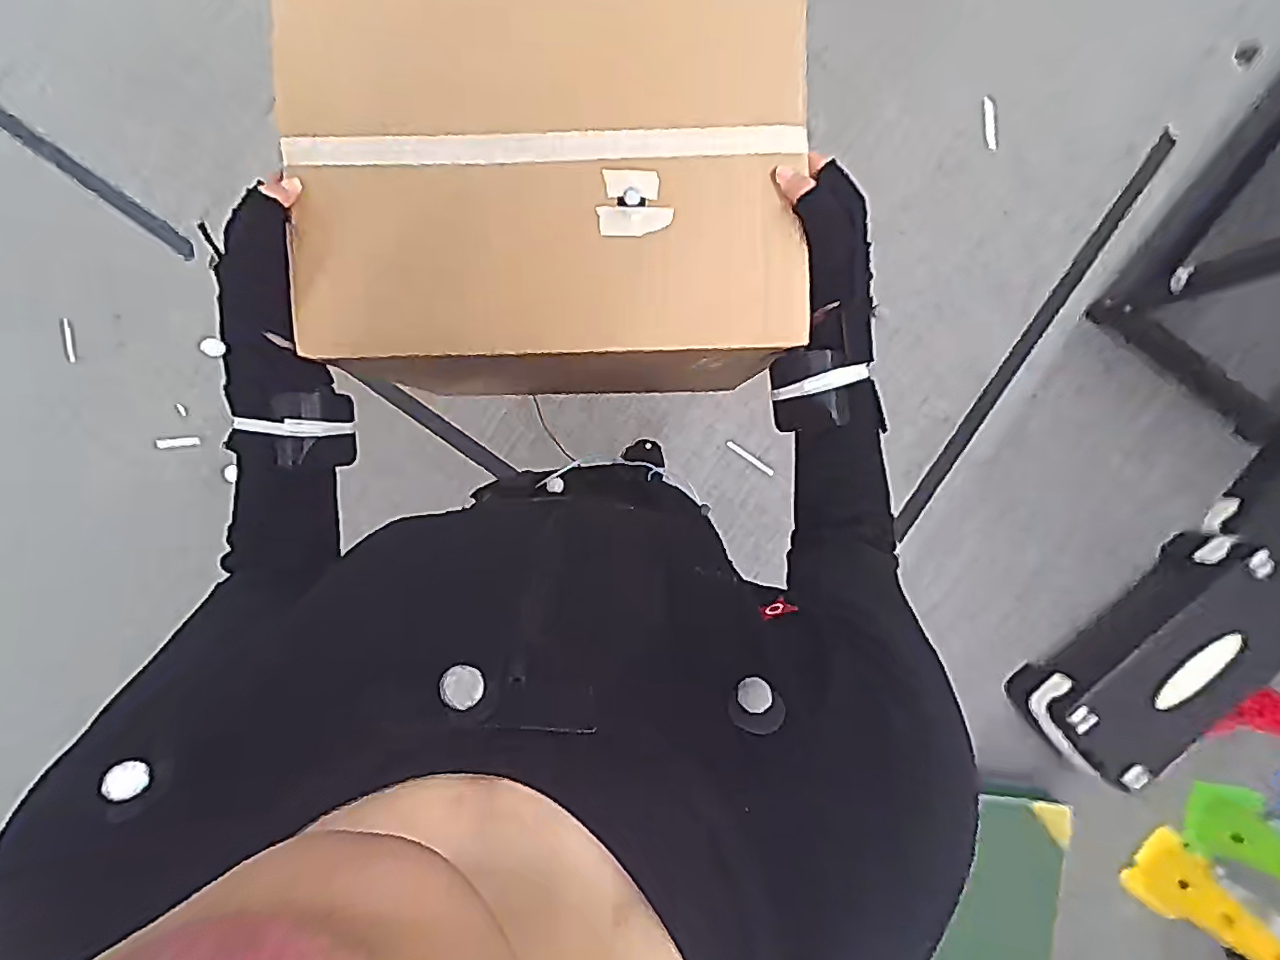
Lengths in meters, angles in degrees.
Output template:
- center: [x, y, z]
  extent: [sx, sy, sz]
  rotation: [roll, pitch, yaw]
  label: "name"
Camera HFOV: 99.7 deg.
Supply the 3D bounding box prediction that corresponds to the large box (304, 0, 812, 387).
- center: [-0.066, -0.275, 0.578]
  extent: [0.408, 0.320, 0.320]
  rotation: [-1, 95, -1]
  label: "large box"
